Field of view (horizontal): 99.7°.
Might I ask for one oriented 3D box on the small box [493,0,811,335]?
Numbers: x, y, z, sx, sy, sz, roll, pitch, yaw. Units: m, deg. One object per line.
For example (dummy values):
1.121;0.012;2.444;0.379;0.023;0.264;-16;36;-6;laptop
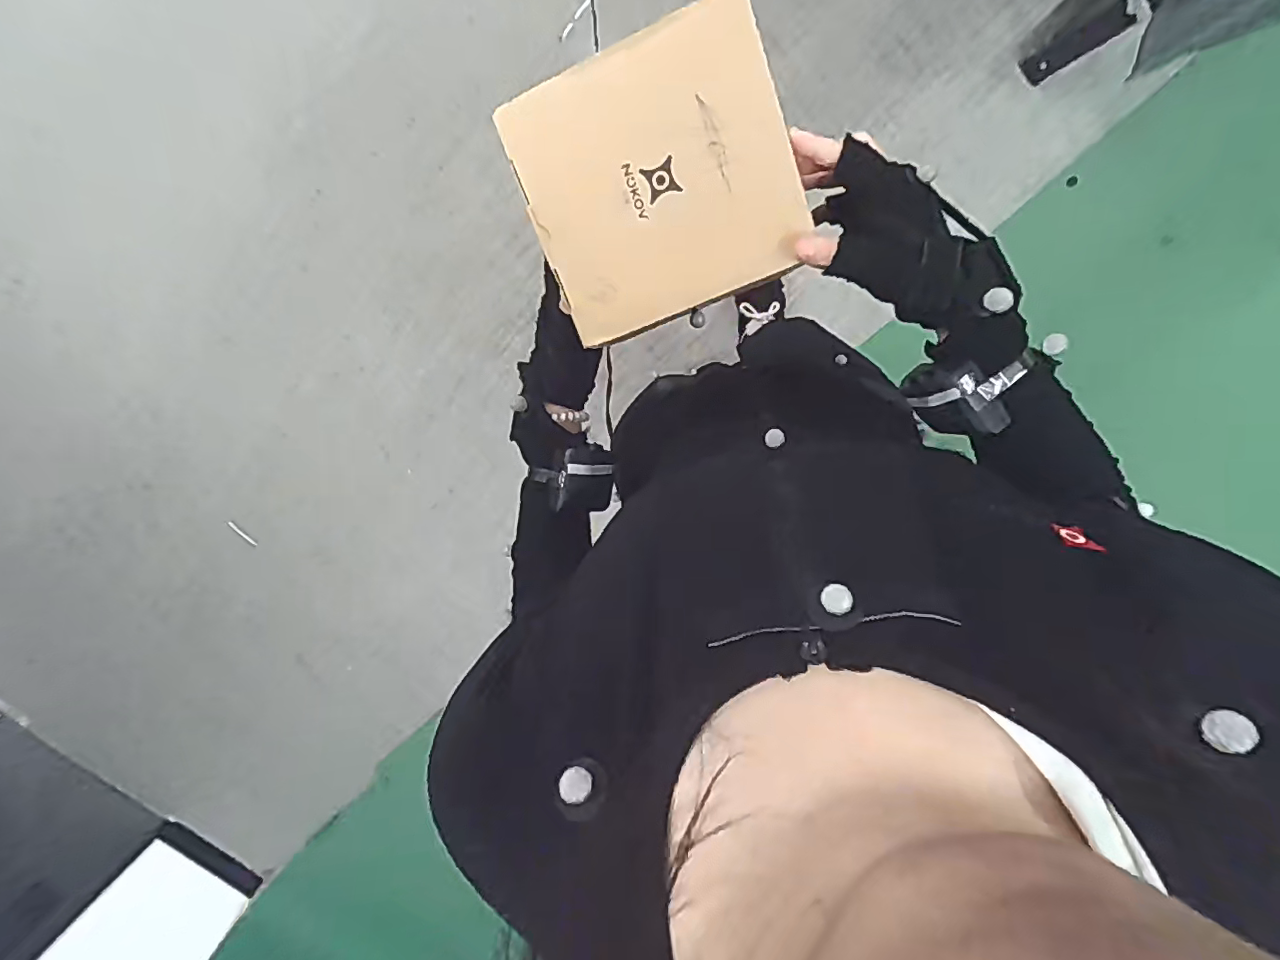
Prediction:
0.019;-0.224;0.434;0.179;0.176;0.168;-18;103;13;small box
